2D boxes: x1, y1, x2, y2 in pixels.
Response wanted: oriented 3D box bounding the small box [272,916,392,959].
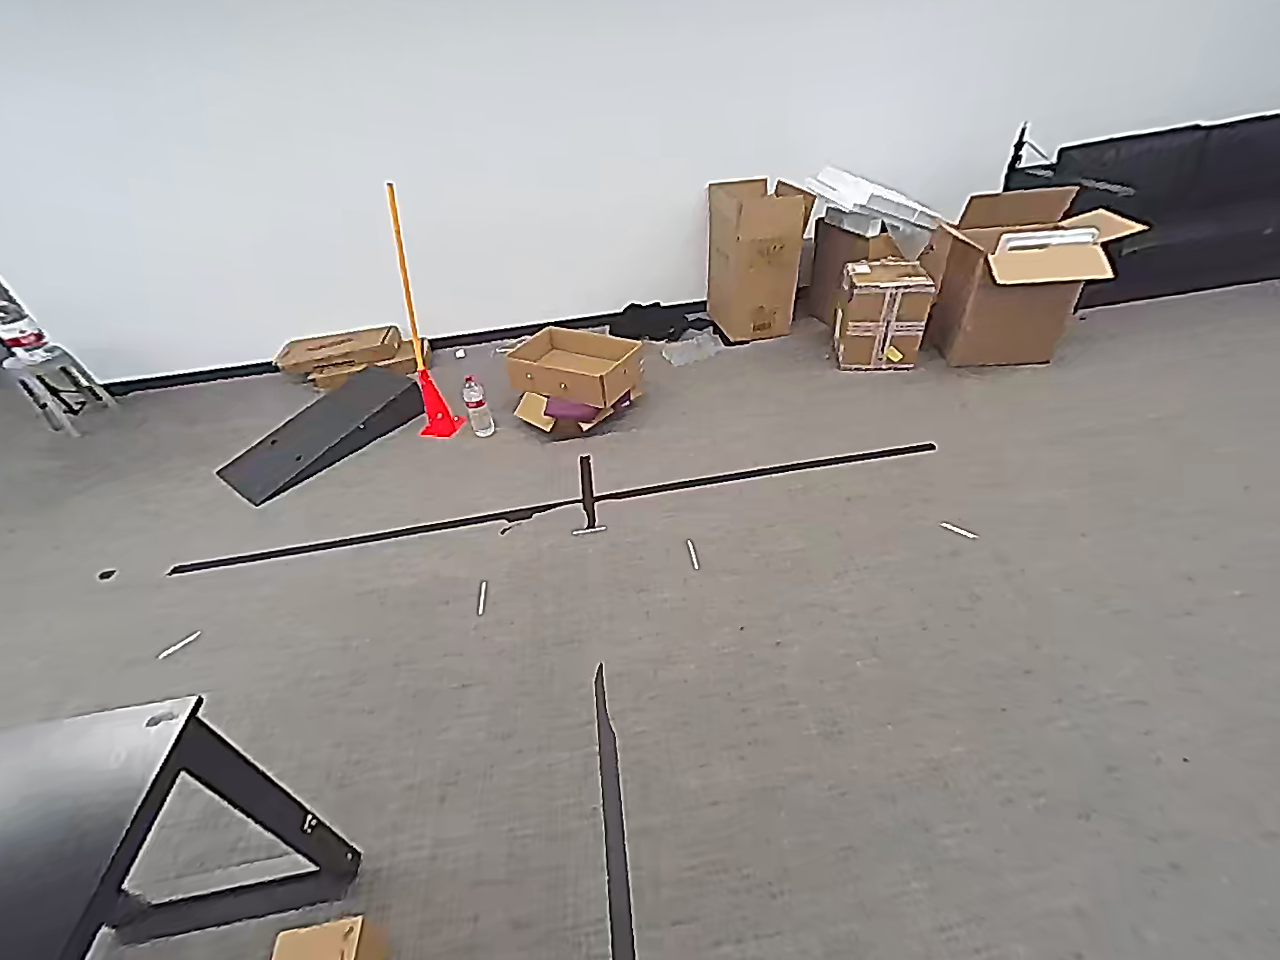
[{"bbox_3d":[-0.644,1.037,1.113,0.179,0.176,0.168,-10,39,-3],"label":"small box"}]
